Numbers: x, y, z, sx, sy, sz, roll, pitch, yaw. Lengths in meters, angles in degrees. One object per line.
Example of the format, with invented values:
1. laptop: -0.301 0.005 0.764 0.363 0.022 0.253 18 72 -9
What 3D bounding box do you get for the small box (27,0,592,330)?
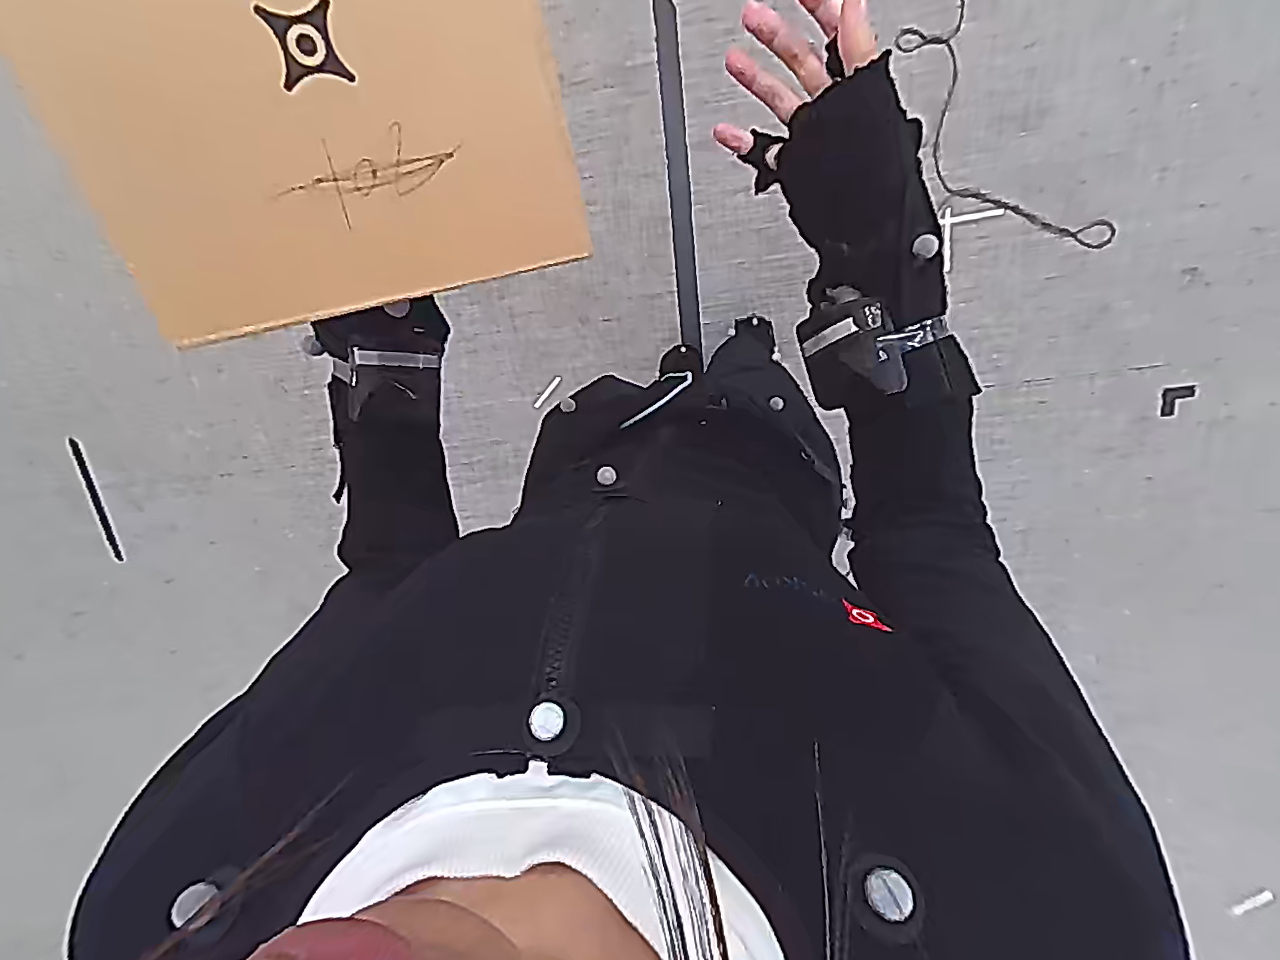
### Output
1. small box: -0.134 -0.186 0.262 0.168 0.176 0.179 -16 117 -10
